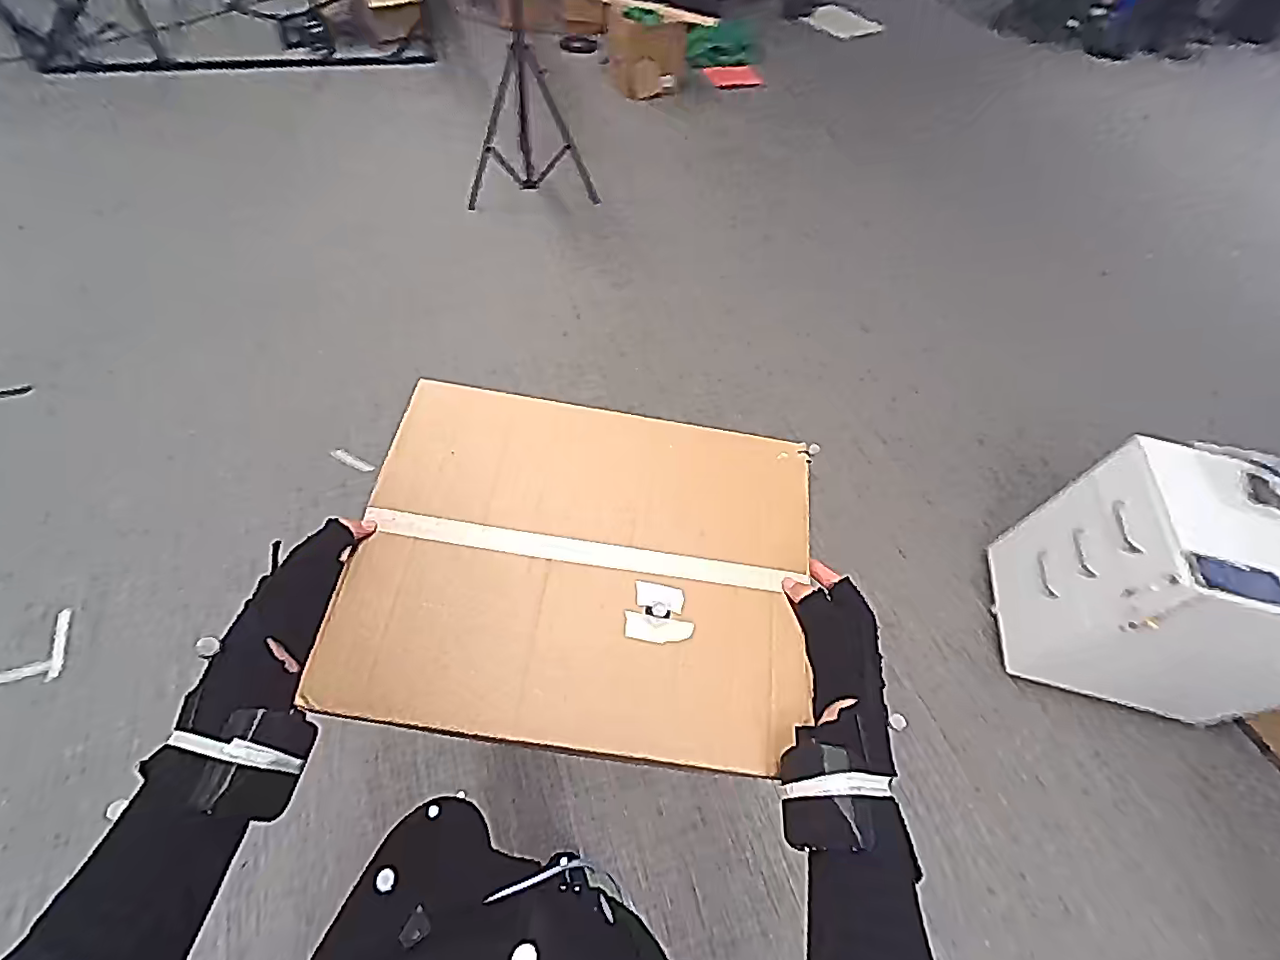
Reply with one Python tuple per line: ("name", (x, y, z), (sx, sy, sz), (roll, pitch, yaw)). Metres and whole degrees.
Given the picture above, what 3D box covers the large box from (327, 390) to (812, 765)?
("large box", (-0.055, 0.136, 0.633), (0.408, 0.320, 0.320), (10, 63, -3))
